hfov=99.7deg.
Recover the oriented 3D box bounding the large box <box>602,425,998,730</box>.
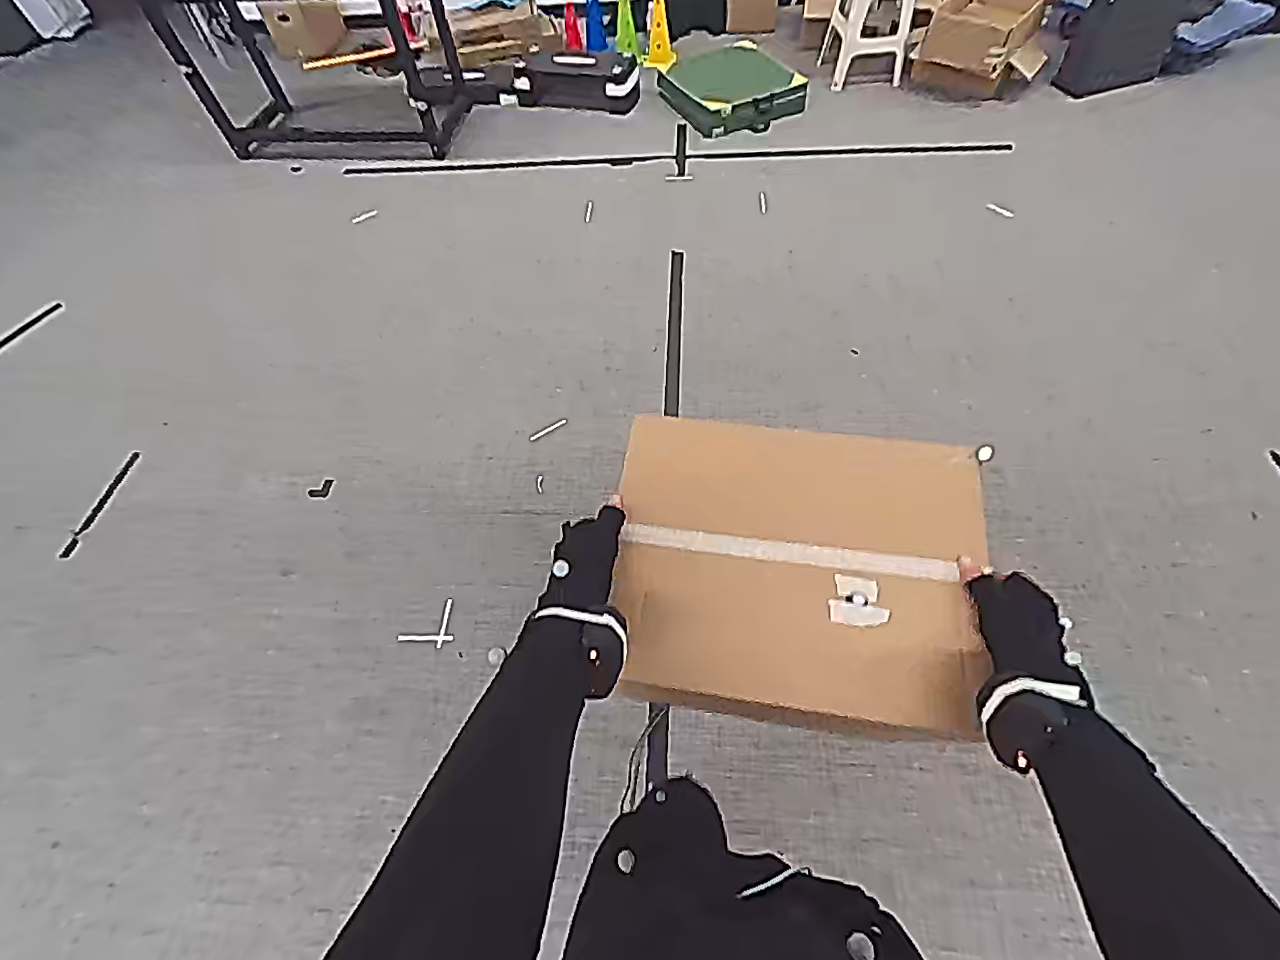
[{"bbox_3d":[0.182,0.148,0.742,0.408,0.320,0.320,6,67,7],"label":"large box"}]
